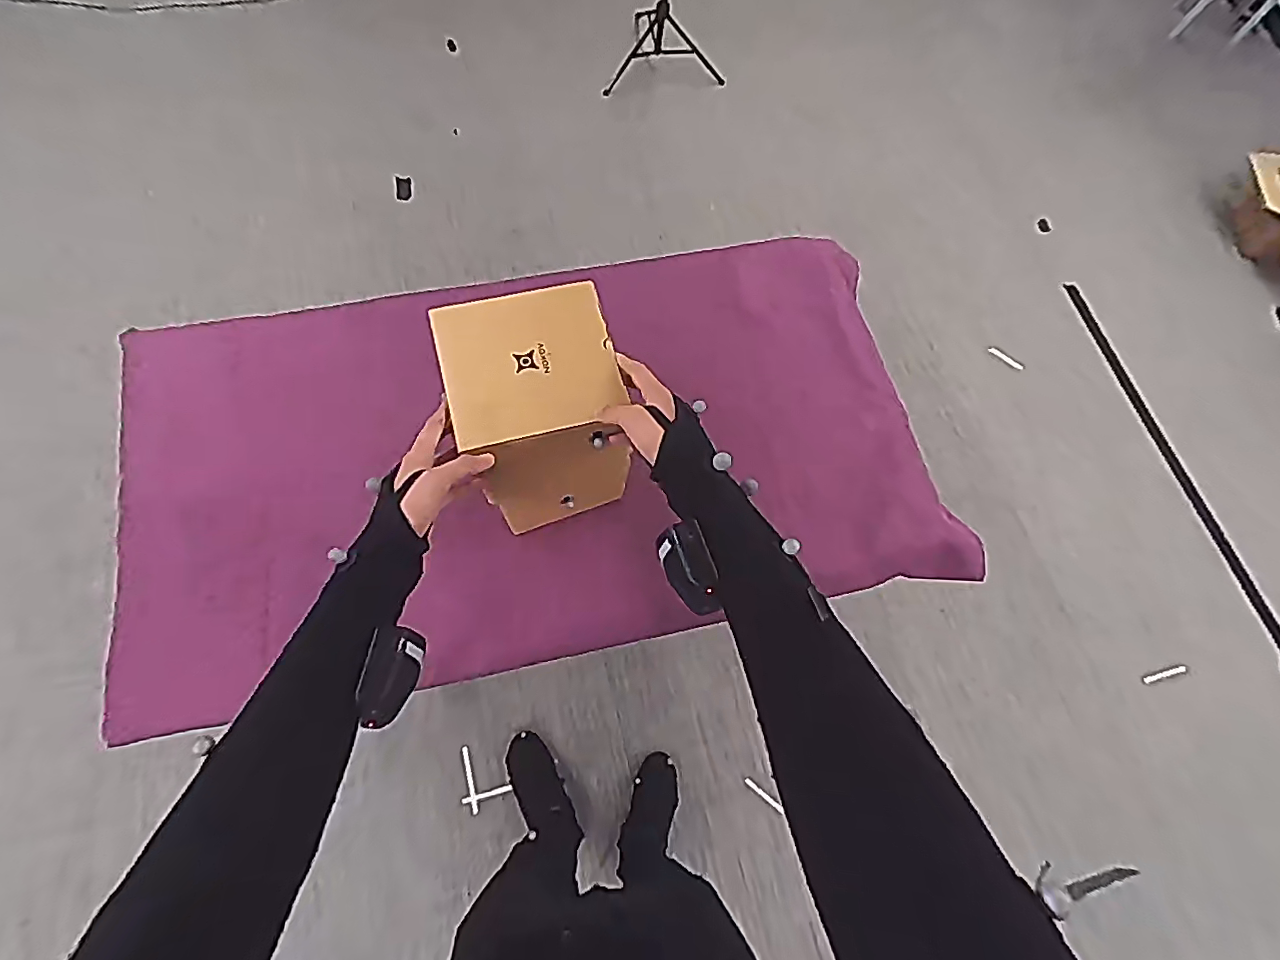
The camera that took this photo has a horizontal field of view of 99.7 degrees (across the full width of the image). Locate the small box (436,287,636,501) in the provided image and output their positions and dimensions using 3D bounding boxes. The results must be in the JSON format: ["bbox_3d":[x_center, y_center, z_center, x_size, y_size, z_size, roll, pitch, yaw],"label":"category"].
[{"bbox_3d":[-0.113,-0.089,0.621,0.179,0.176,0.168,-14,72,-11],"label":"small box"}]
